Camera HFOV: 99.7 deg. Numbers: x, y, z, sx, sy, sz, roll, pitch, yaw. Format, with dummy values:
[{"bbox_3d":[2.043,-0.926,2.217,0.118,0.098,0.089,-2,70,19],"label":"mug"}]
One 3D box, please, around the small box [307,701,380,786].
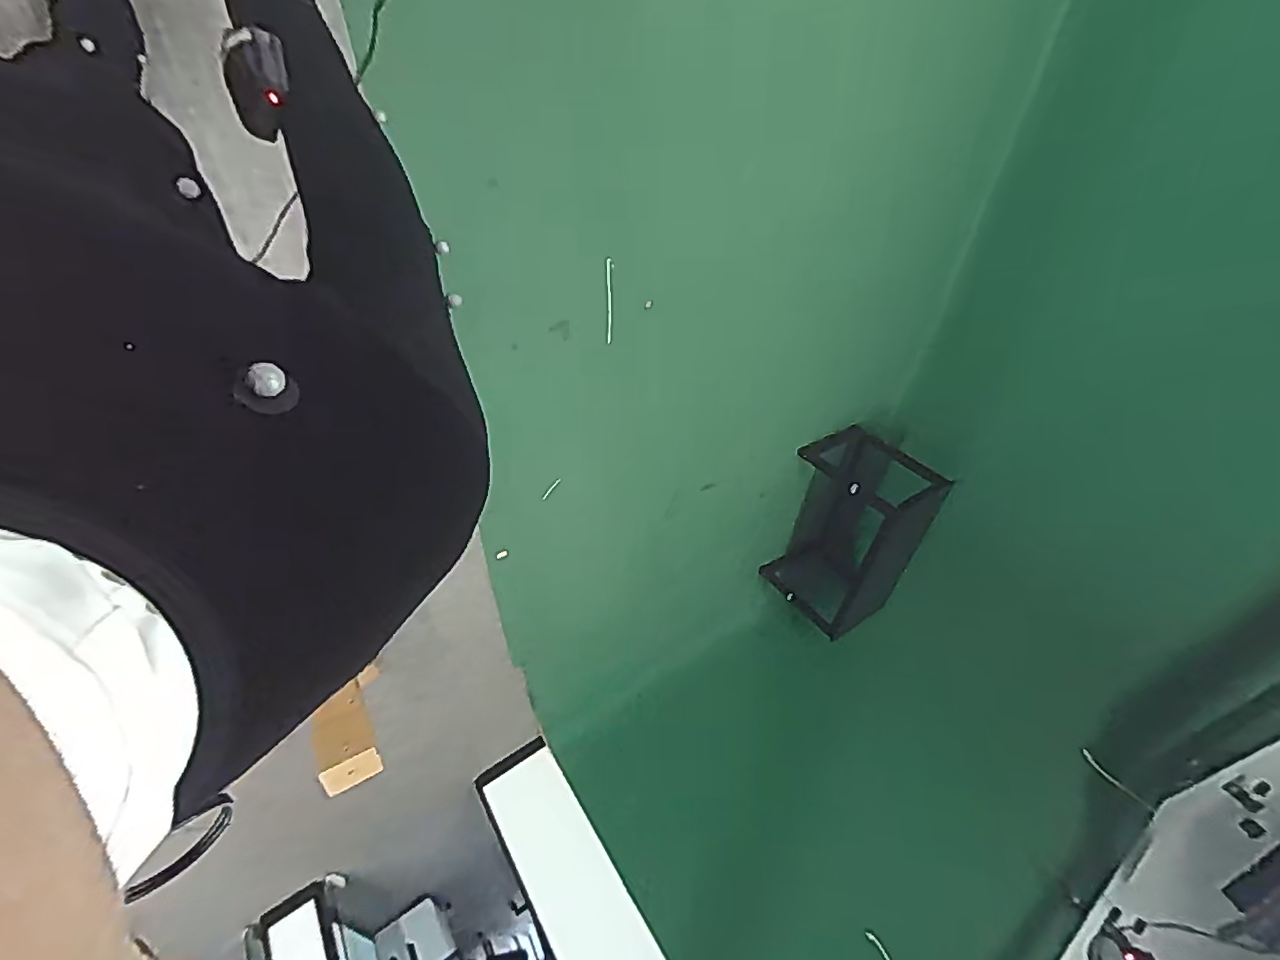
[{"bbox_3d":[-1.026,0.905,1.873,0.179,0.176,0.168,-18,135,-30],"label":"small box"}]
